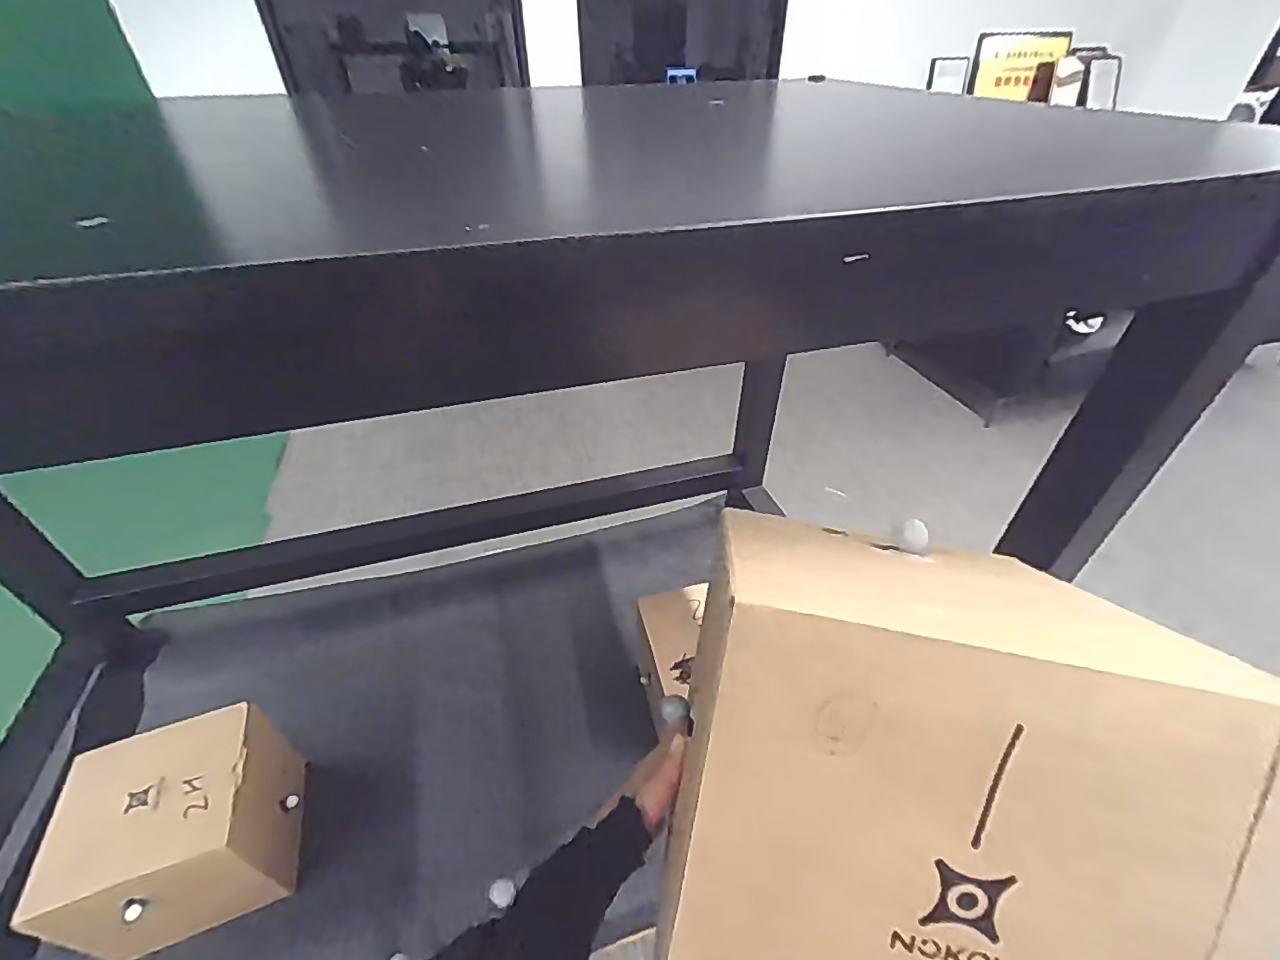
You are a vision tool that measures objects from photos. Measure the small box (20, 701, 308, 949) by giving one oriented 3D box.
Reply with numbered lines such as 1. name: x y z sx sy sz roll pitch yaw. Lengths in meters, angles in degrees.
1. small box: -0.520 0.398 0.629 0.179 0.176 0.168 -14 42 -17
